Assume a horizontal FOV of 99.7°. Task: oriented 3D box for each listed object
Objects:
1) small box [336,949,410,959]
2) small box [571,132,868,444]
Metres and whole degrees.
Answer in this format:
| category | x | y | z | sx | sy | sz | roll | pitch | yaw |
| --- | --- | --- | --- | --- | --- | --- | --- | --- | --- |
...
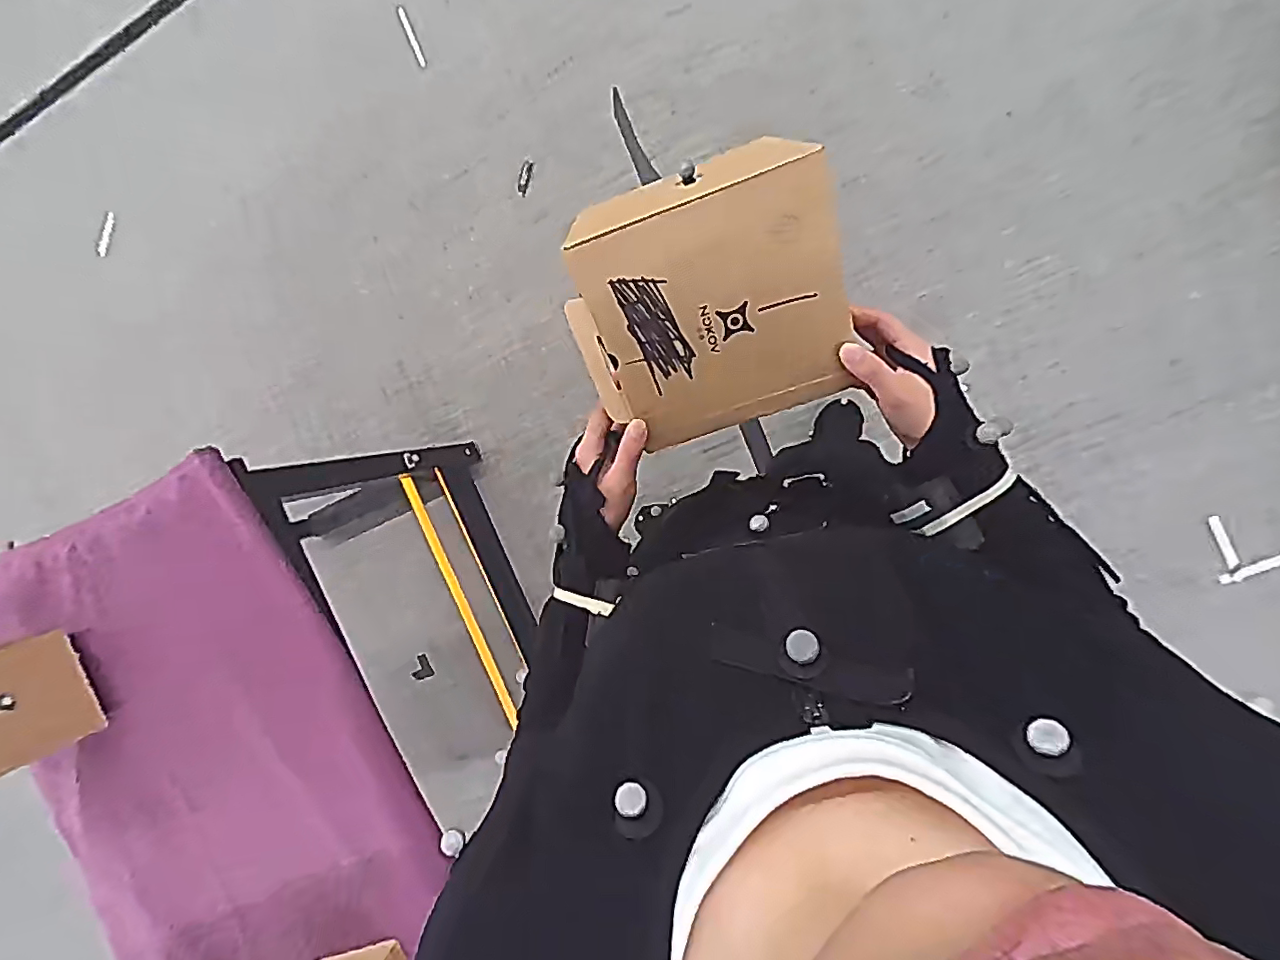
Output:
| category | x | y | z | sx | sy | sz | roll | pitch | yaw |
| --- | --- | --- | --- | --- | --- | --- | --- | --- | --- |
| small box | -0.402 | 0.793 | 0.736 | 0.168 | 0.176 | 0.179 | -25 | 92 | 12 |
| small box | 0.060 | -0.158 | 0.437 | 0.179 | 0.176 | 0.168 | -17 | 123 | 9 |
